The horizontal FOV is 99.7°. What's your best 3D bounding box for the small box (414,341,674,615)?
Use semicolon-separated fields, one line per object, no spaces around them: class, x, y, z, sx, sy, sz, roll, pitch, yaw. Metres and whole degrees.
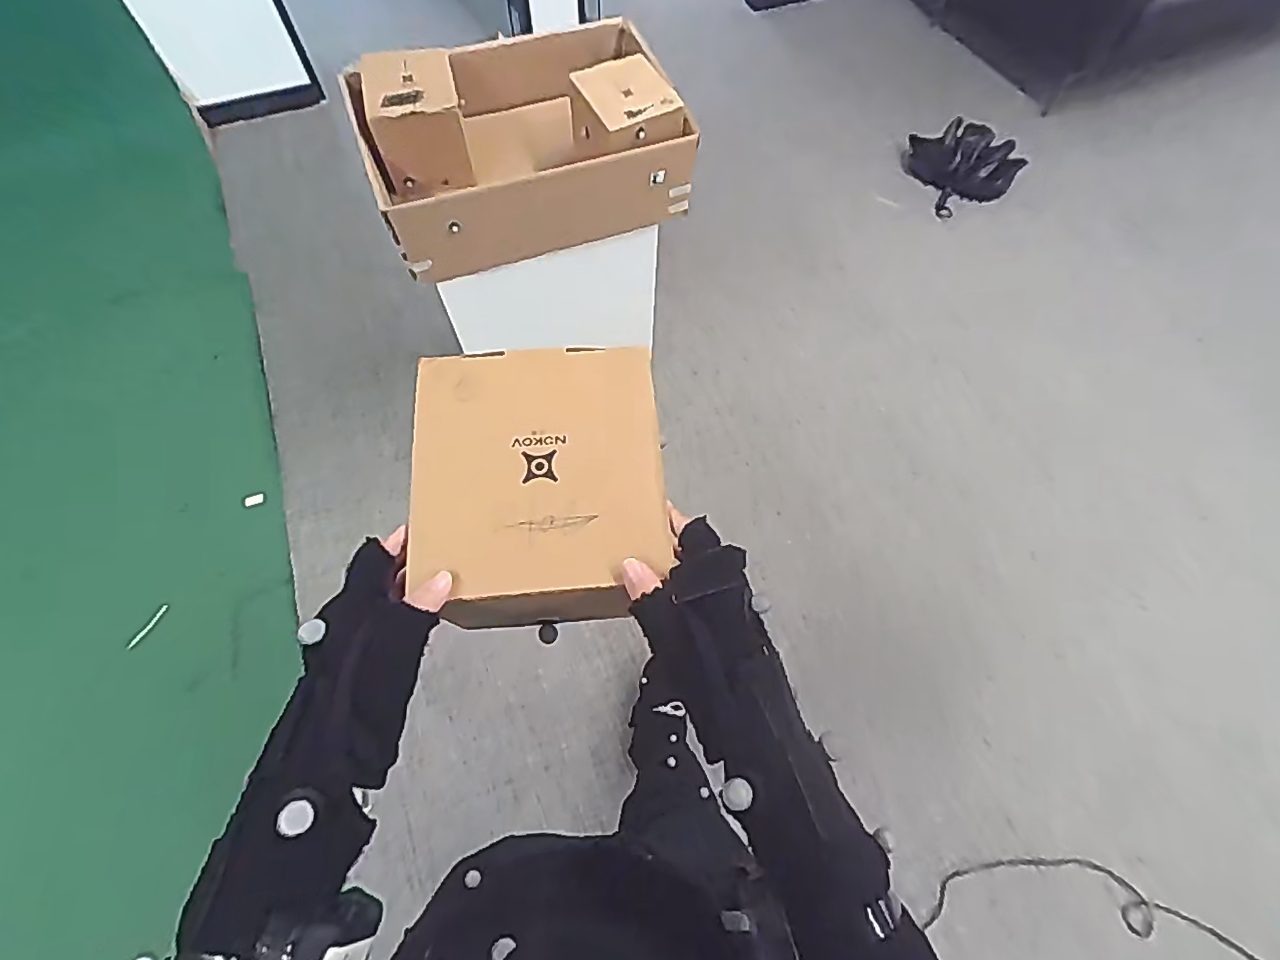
small box;-0.069;0.008;0.442;0.168;0.176;0.179;-4;71;-4
